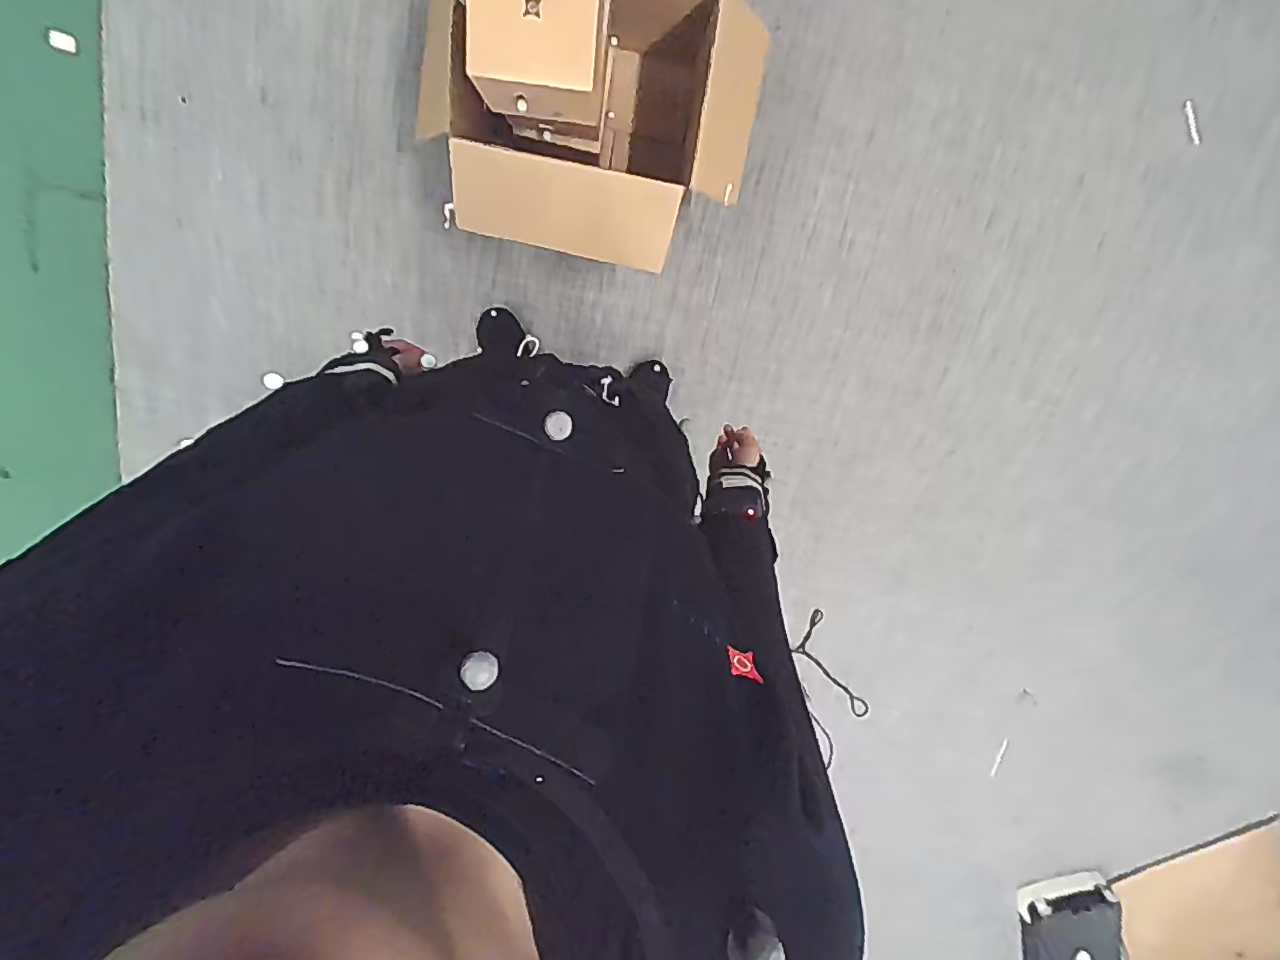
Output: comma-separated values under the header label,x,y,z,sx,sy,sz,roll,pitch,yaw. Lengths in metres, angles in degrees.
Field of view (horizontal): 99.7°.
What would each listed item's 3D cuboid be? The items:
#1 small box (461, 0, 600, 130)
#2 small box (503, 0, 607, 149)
label,x,y,z,sx,sy,sz,roll,pitch,yaw
small box,-0.144,-0.612,0.751,0.168,0.176,0.179,4,108,-5
small box,-0.148,-0.680,0.899,0.168,0.176,0.179,6,109,-6
